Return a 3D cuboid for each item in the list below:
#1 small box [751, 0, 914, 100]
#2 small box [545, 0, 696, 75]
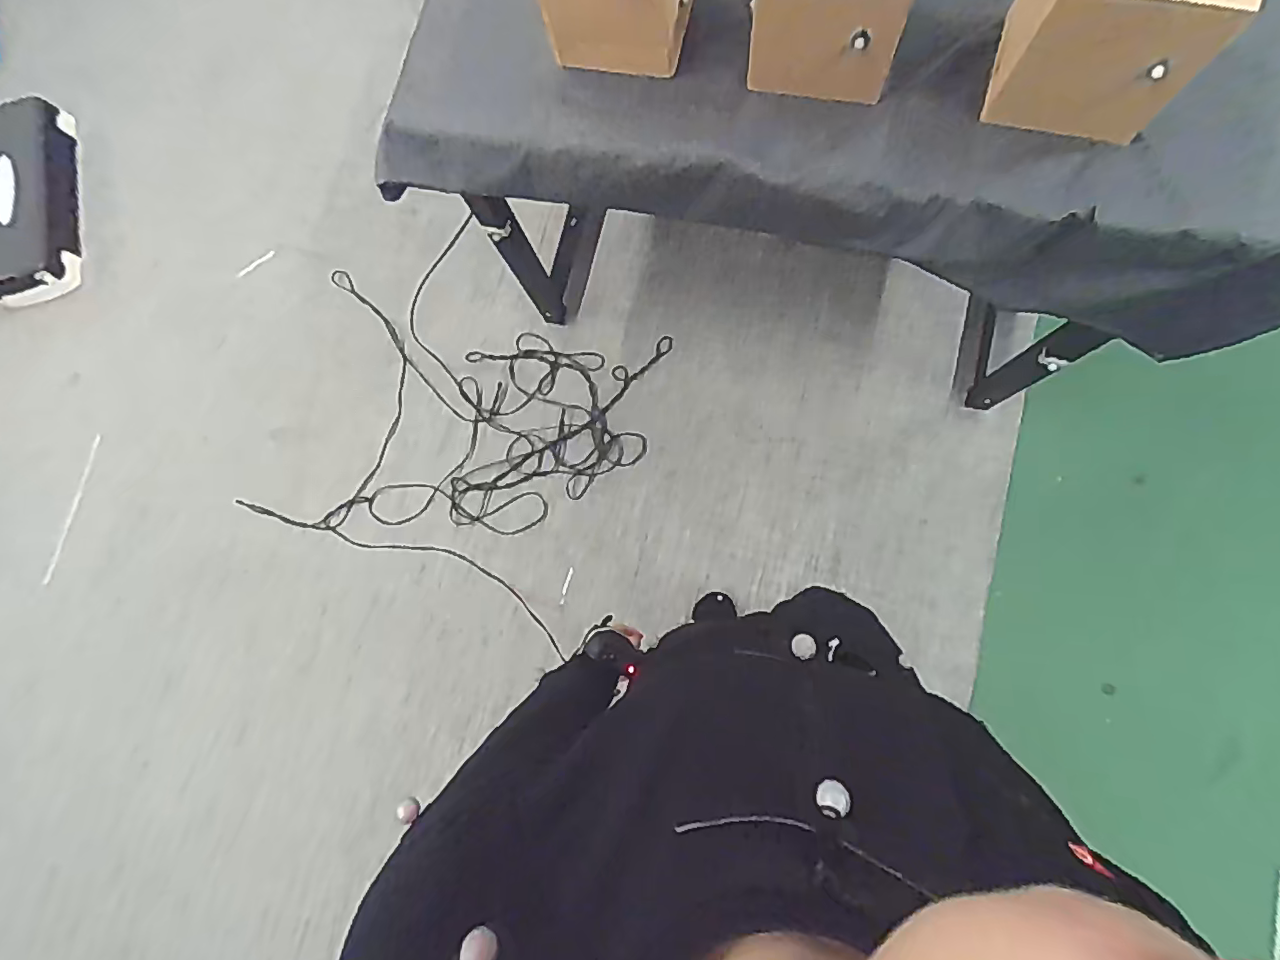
[{"bbox_3d":[0.241,-0.605,0.659,0.179,0.176,0.168,13,81,11],"label":"small box"},{"bbox_3d":[-0.027,-0.674,0.706,0.179,0.176,0.168,12,82,9],"label":"small box"}]
